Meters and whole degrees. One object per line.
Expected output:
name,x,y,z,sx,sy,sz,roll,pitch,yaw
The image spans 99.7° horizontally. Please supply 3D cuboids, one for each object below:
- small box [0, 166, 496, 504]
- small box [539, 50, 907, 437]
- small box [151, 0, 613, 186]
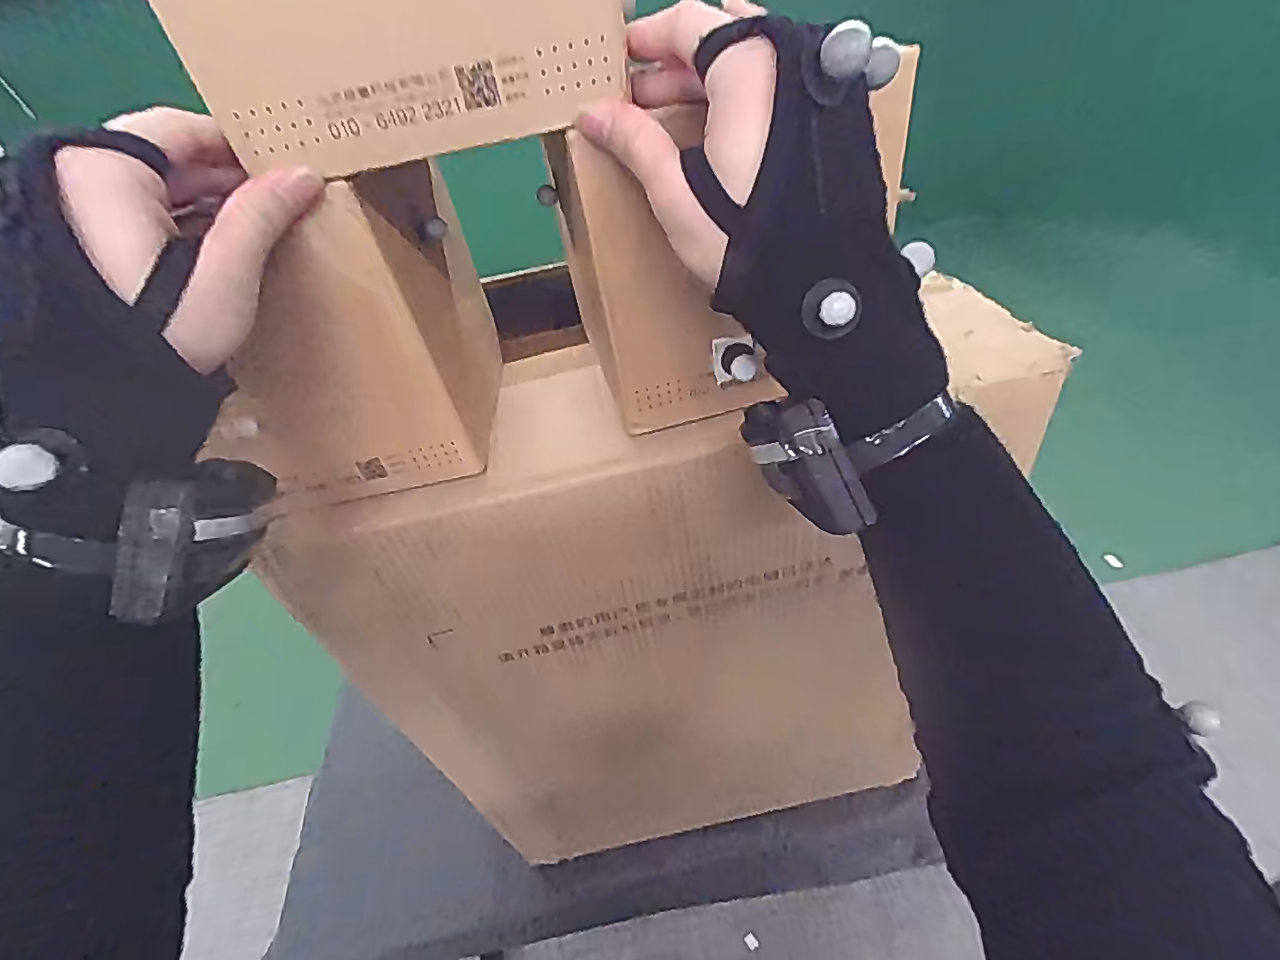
small box,-0.203,-0.101,0.348,0.168,0.176,0.179,-12,40,1
small box,0.036,-0.156,0.352,0.168,0.176,0.179,-18,42,-4
small box,-0.112,-0.248,0.242,0.168,0.176,0.179,-12,40,1
